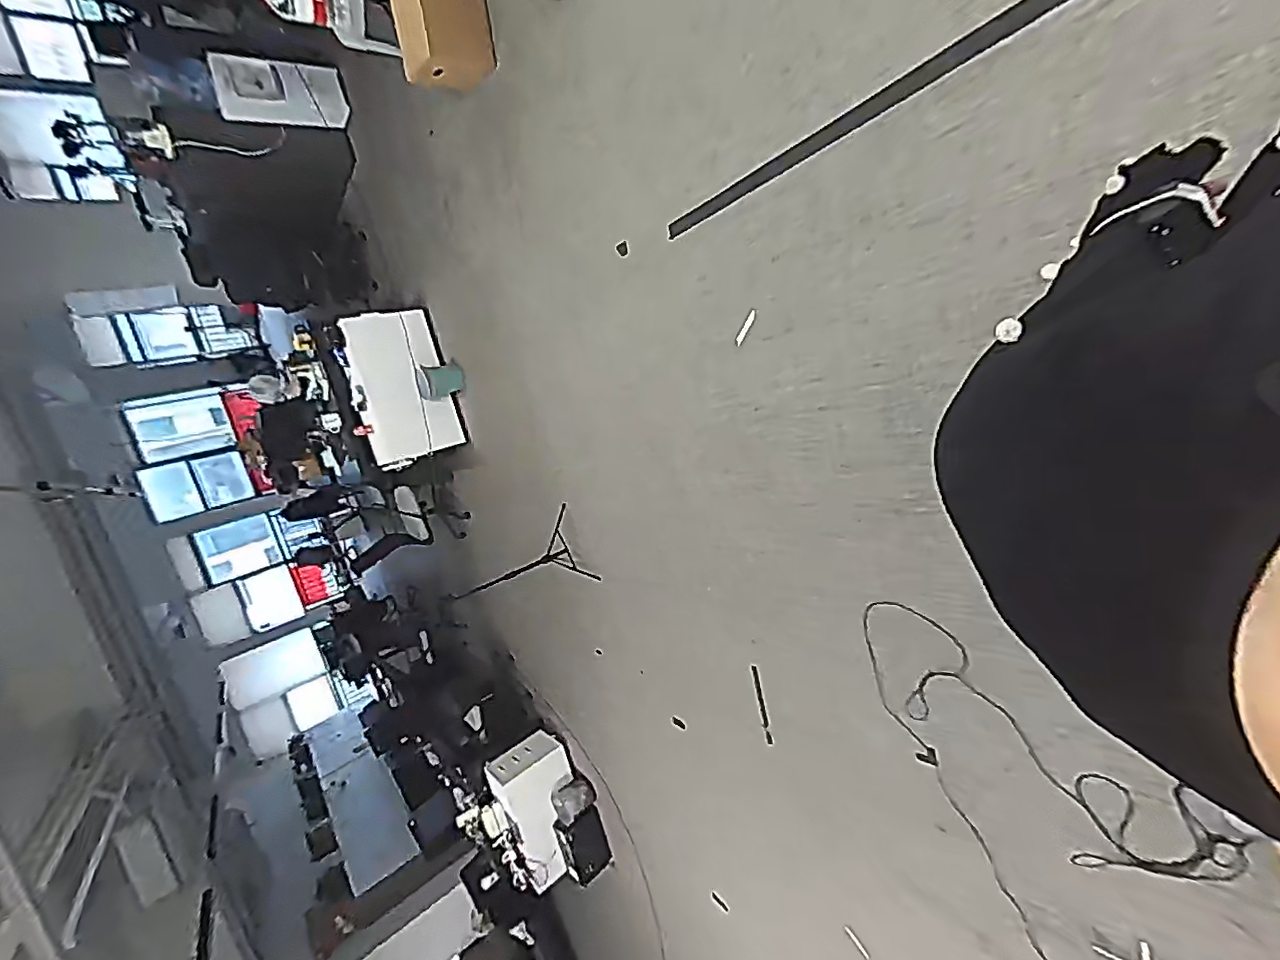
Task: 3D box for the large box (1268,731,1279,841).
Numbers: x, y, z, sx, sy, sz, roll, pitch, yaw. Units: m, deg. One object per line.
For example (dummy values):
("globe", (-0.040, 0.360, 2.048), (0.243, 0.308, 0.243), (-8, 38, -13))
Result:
("large box", (1.389, 0.625, 0.874), (0.408, 0.320, 0.320), (-30, 84, 55))
